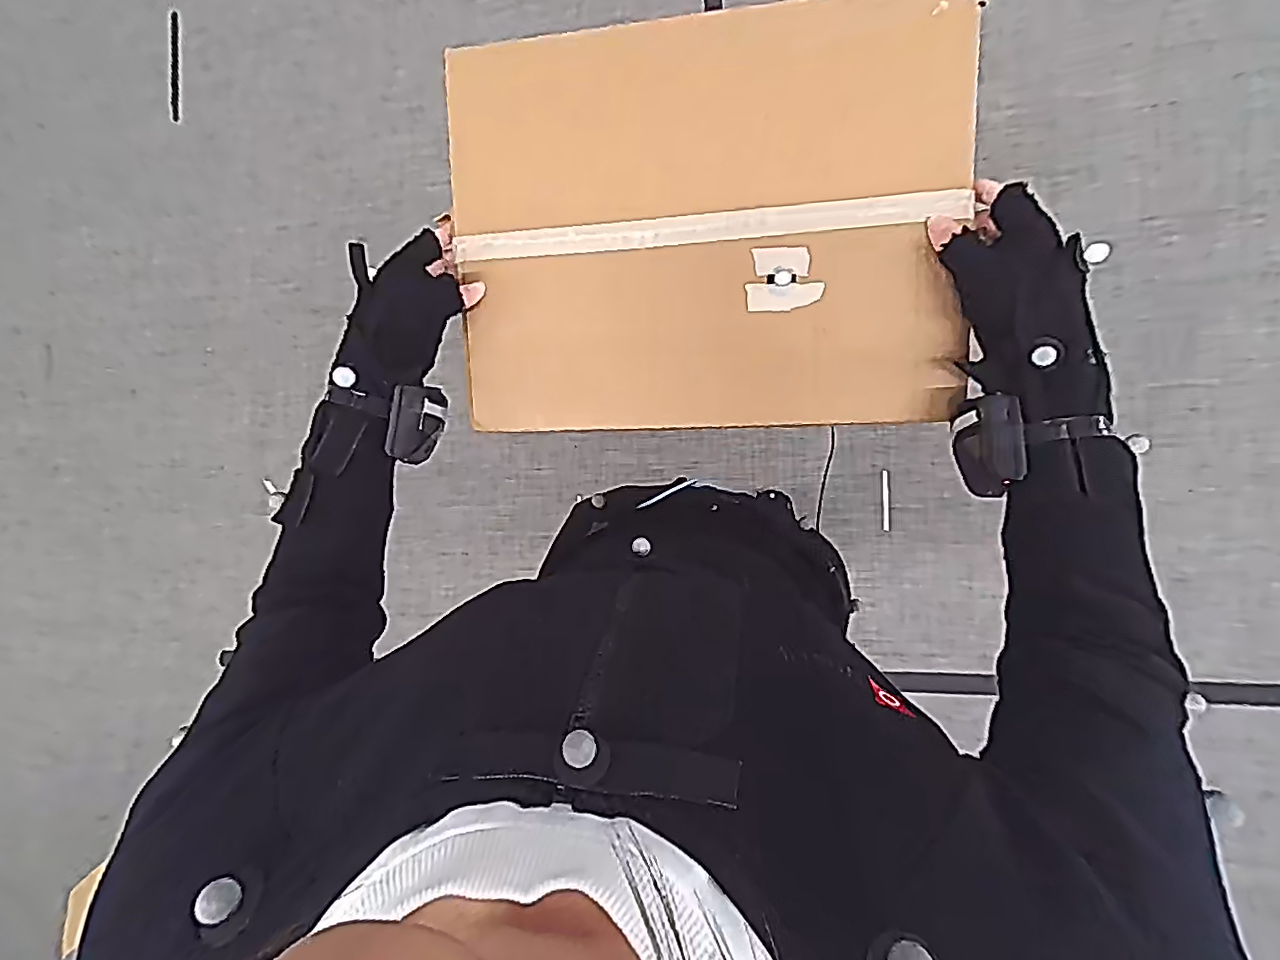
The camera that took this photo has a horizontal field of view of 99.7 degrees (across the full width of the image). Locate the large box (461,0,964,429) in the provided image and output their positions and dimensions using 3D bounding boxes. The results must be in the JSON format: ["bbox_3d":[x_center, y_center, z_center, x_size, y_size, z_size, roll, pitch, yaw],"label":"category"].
[{"bbox_3d":[0.070,-0.222,0.589,0.408,0.320,0.320,-1,97,9],"label":"large box"}]
